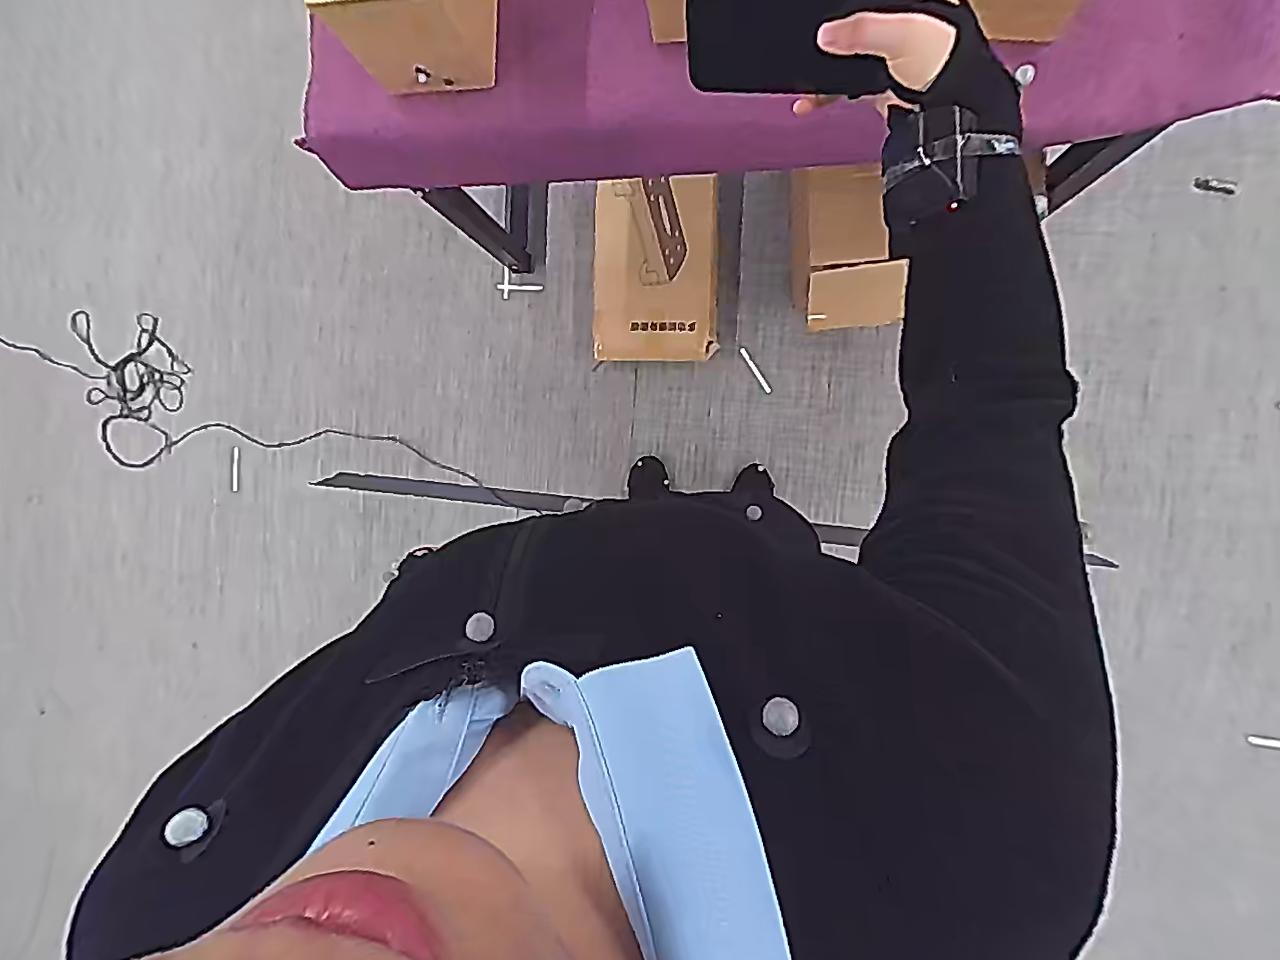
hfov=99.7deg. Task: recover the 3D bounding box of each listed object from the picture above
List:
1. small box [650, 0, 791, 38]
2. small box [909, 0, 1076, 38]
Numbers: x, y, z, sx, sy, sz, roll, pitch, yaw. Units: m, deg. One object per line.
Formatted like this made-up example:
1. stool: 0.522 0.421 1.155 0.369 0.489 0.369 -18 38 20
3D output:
1. small box: 0.098 -0.655 0.620 0.179 0.176 0.168 3 91 9
2. small box: 0.411 -0.616 0.573 0.179 0.176 0.168 10 95 8
